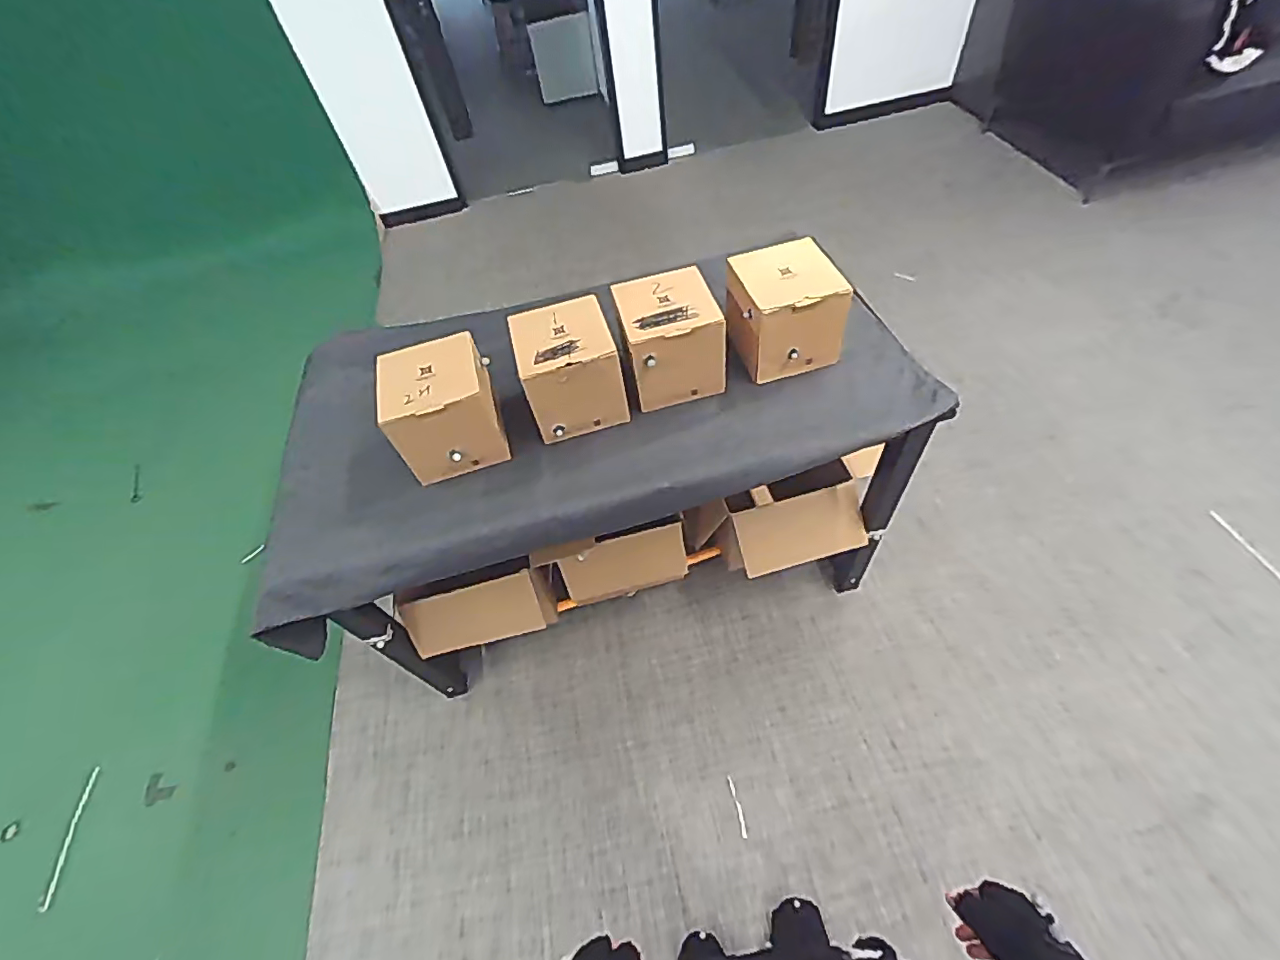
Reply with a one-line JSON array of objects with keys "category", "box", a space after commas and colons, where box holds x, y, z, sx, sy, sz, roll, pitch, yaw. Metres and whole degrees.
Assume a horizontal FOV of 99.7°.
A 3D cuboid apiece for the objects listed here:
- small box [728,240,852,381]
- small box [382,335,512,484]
[{"category": "small box", "box": [0.268, -0.316, 1.018, 0.168, 0.176, 0.179, -16, 54, -3]}, {"category": "small box", "box": [-0.341, -0.123, 0.966, 0.168, 0.176, 0.179, -18, 54, -5]}]
